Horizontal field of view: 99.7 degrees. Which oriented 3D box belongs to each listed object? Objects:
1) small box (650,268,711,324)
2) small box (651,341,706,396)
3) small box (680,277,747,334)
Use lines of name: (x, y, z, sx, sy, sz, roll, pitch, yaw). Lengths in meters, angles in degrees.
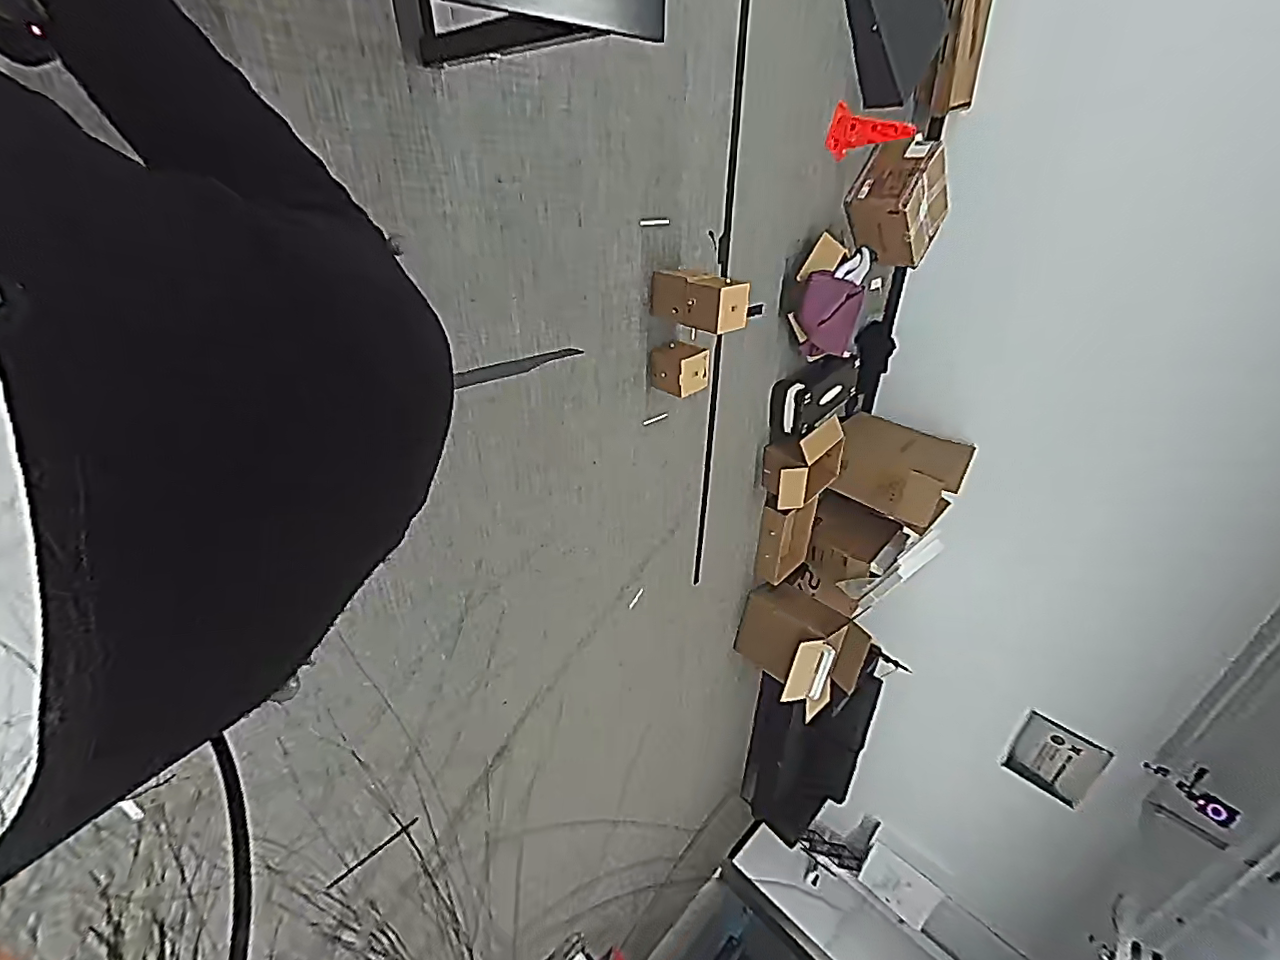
small box: (0.155, -0.722, 2.113, 0.168, 0.176, 0.179, -25, 129, -39)
small box: (0.157, -0.471, 2.273, 0.179, 0.176, 0.168, -29, 131, -35)
small box: (0.273, -0.658, 2.021, 0.179, 0.176, 0.168, -25, 128, -37)
